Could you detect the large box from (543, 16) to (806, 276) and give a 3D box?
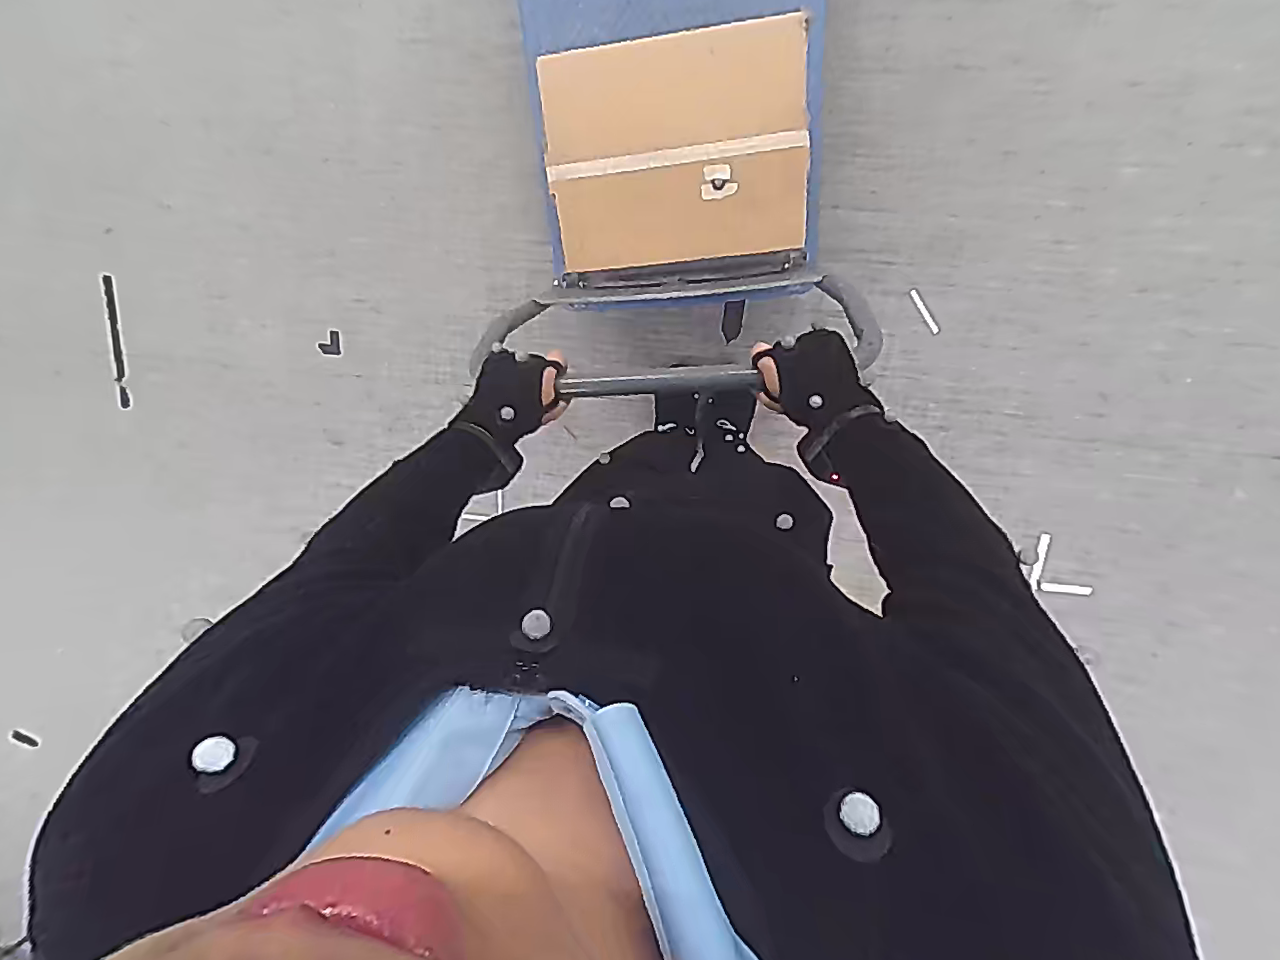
[{"bbox_3d":[0.075,-0.575,1.003,0.408,0.320,0.320,-4,114,8],"label":"large box"}]
